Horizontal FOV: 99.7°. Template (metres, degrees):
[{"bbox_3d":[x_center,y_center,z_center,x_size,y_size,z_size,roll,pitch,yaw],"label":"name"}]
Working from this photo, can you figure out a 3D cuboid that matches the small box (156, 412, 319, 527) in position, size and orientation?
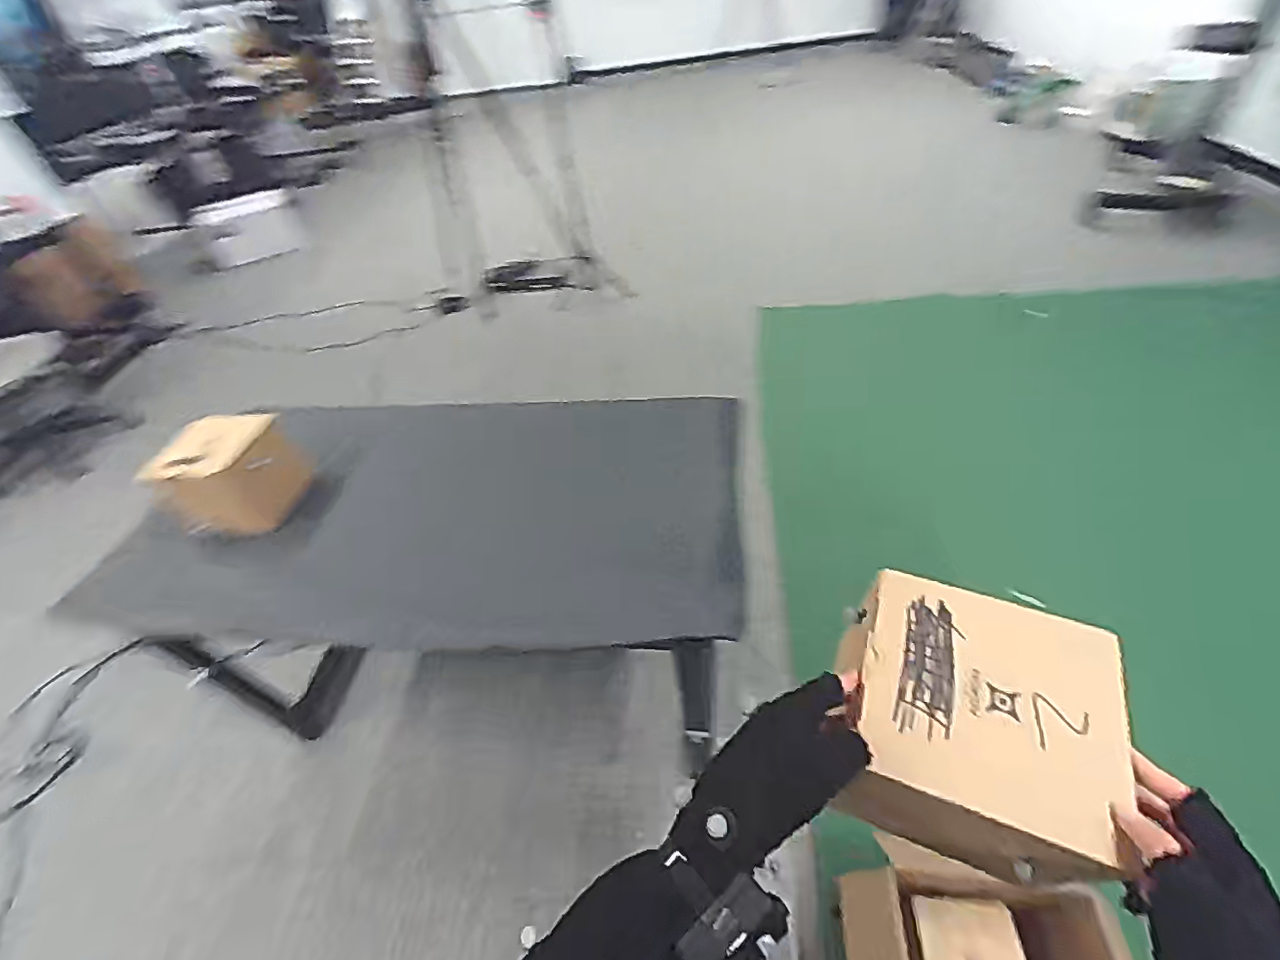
[{"bbox_3d":[-0.805,-0.019,1.109,0.168,0.176,0.179,0,45,9],"label":"small box"}]
